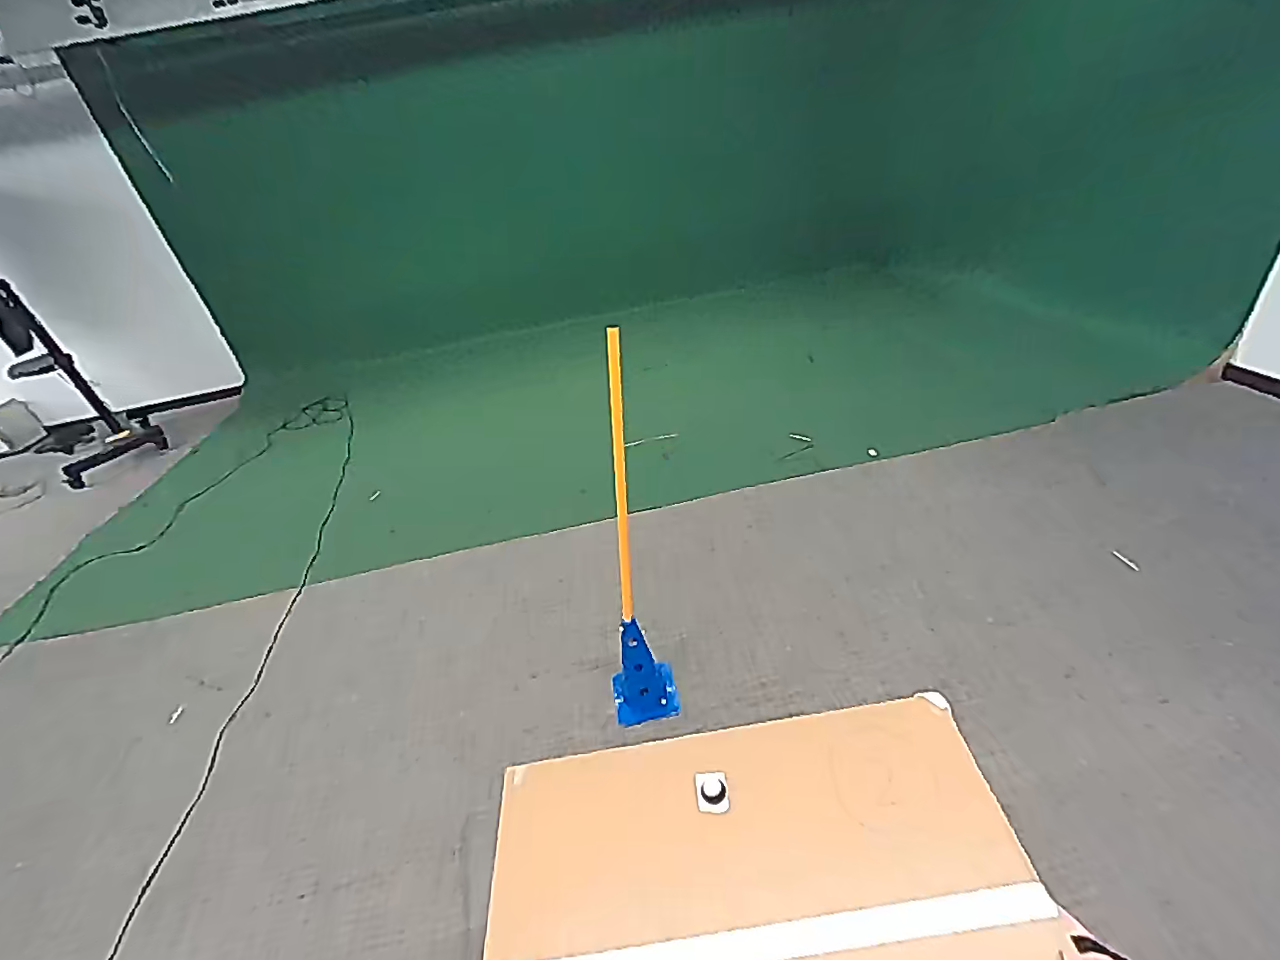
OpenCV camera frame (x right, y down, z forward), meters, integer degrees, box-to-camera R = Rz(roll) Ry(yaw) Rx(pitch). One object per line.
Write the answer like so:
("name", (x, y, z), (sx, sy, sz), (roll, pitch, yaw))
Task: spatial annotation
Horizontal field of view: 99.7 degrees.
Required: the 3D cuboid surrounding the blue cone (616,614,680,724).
("blue cone", (0.000, 0.545, 1.651), (0.193, 0.380, 0.192), (-12, 33, -6))
